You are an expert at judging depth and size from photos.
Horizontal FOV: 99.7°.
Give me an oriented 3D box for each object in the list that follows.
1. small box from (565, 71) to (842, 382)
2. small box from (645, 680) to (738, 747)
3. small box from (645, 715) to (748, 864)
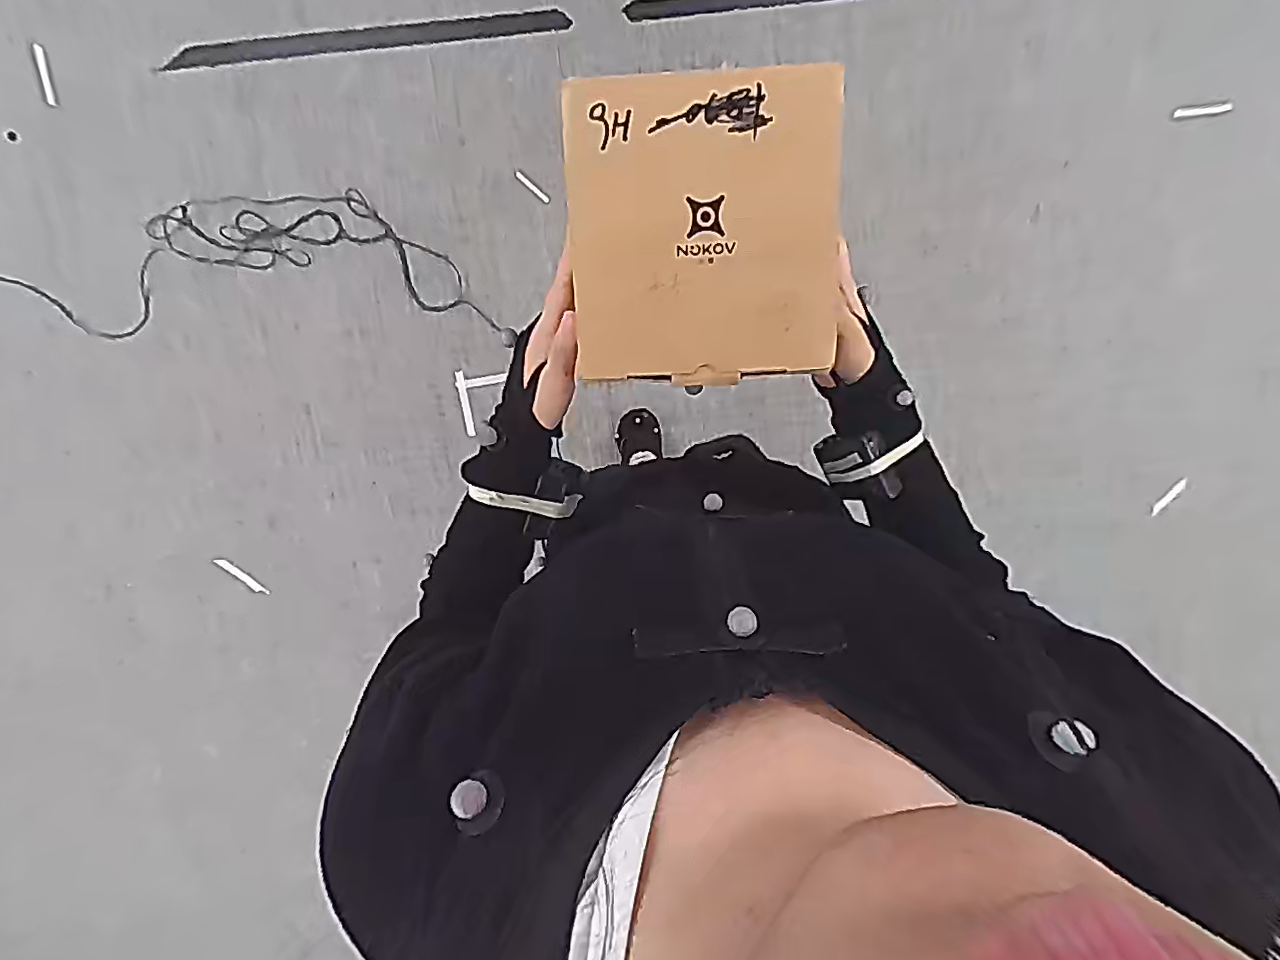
[{"bbox_3d":[0.040,-0.171,0.414,0.168,0.176,0.179,-2,104,0],"label":"small box"},{"bbox_3d":[0.103,0.542,1.156,0.179,0.176,0.168,0,96,-2],"label":"small box"},{"bbox_3d":[0.097,0.558,0.992,0.168,0.176,0.179,-1,95,-3],"label":"small box"}]
